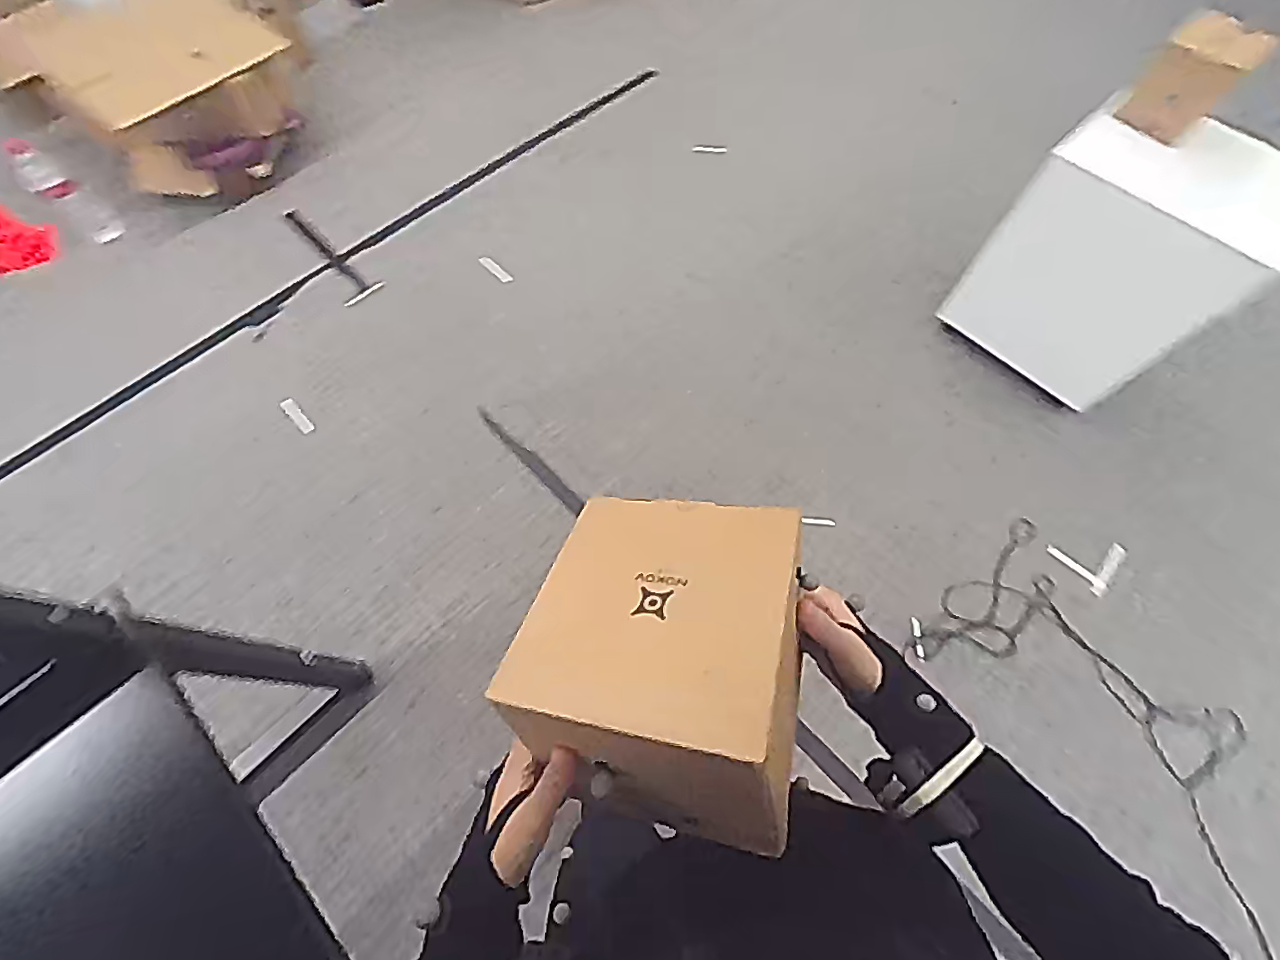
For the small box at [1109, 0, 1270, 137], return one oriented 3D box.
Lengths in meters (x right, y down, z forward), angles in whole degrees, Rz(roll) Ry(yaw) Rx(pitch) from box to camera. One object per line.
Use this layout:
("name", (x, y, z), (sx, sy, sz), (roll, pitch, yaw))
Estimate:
("small box", (1.244, -0.937, 1.242), (0.179, 0.176, 0.168), (-42, 74, -15))
